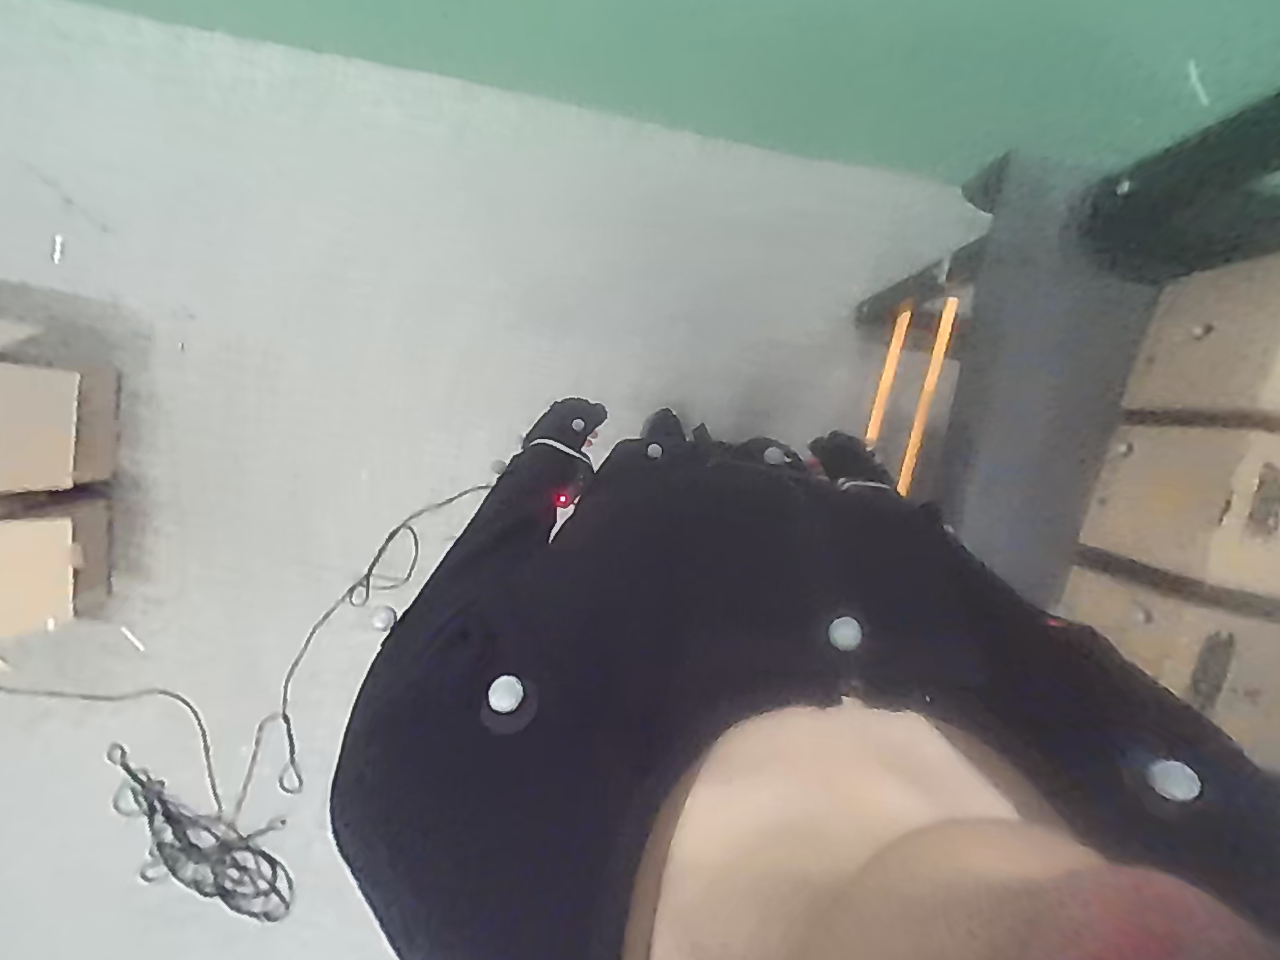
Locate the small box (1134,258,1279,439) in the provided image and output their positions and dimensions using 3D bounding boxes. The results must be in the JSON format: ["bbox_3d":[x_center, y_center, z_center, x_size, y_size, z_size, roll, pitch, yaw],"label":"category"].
[{"bbox_3d":[0.728,-0.140,0.607,0.179,0.176,0.168,14,99,0],"label":"small box"}]
